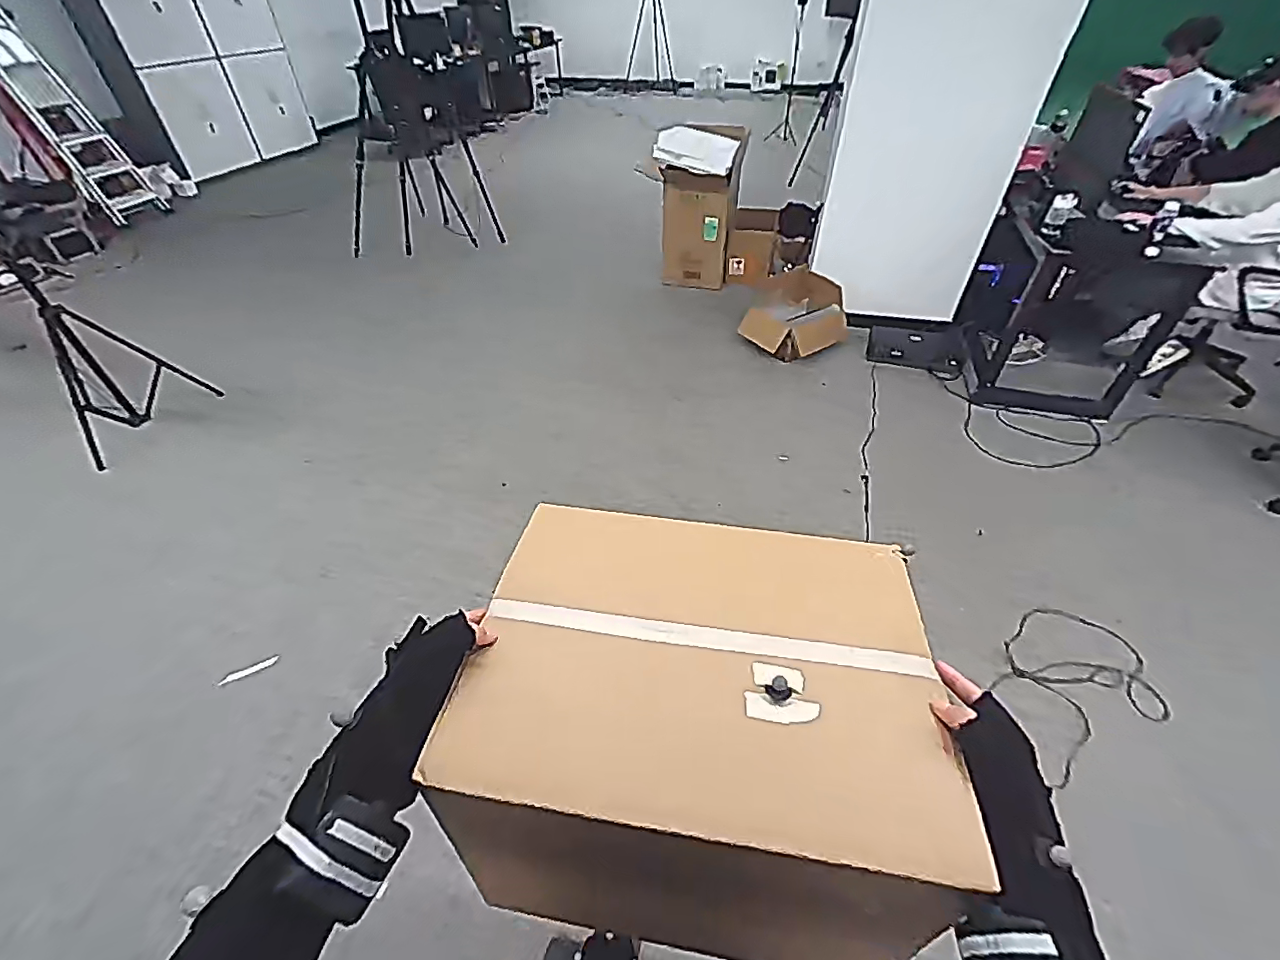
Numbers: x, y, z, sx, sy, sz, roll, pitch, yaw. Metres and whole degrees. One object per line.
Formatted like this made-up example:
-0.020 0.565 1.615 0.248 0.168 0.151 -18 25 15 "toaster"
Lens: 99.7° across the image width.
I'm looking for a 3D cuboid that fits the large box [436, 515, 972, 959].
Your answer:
0.055 0.270 0.600 0.408 0.320 0.320 7 39 7 "large box"
